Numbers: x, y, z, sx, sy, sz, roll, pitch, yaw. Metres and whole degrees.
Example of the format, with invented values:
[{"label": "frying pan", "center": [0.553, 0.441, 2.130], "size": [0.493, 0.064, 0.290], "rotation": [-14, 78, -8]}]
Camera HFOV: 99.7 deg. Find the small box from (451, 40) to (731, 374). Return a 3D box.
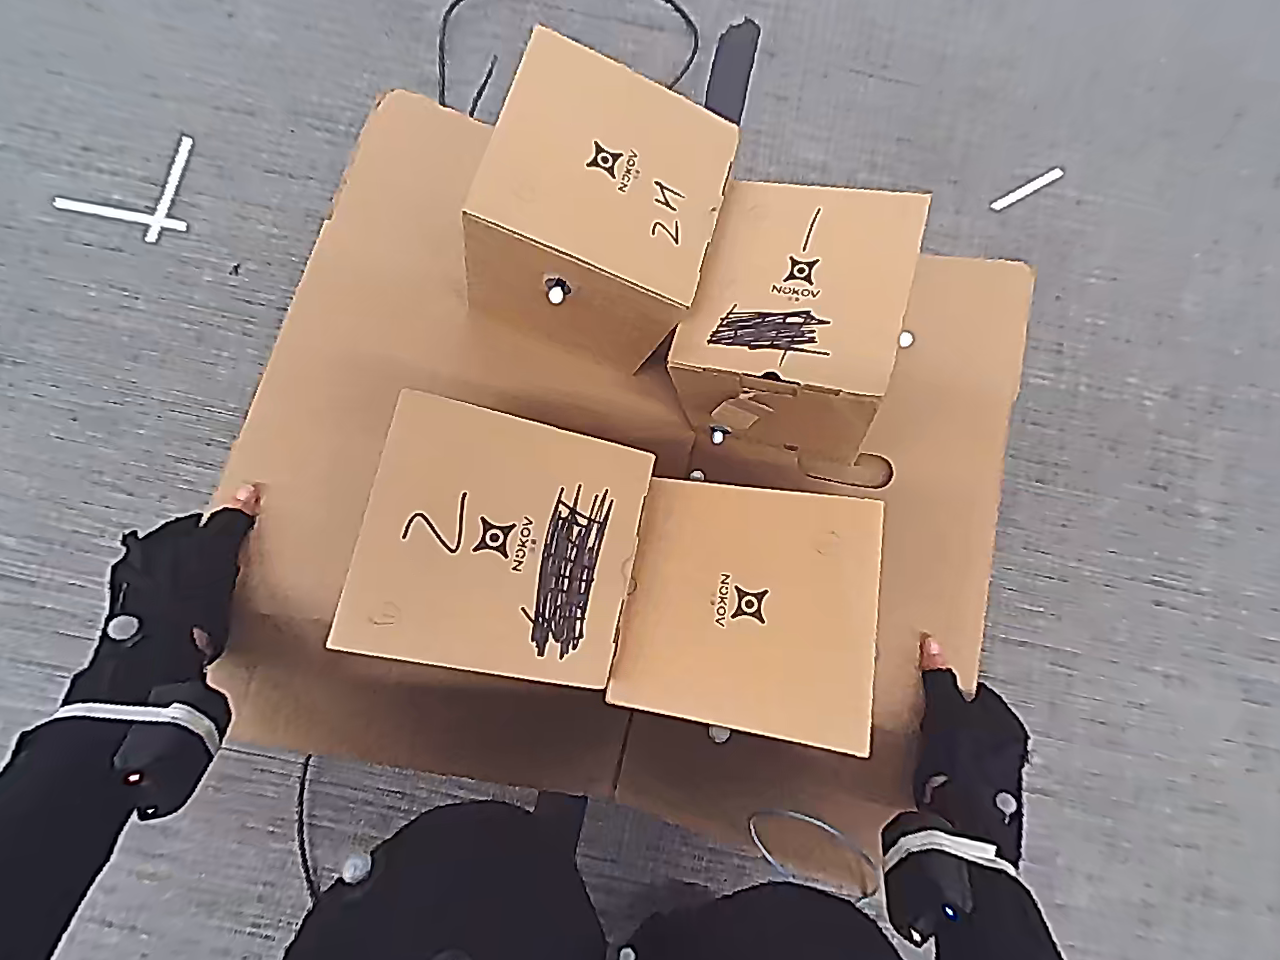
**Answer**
[{"label": "small box", "center": [-0.050, -0.213, 0.478], "size": [0.179, 0.176, 0.168], "rotation": [20, 78, -13]}]
